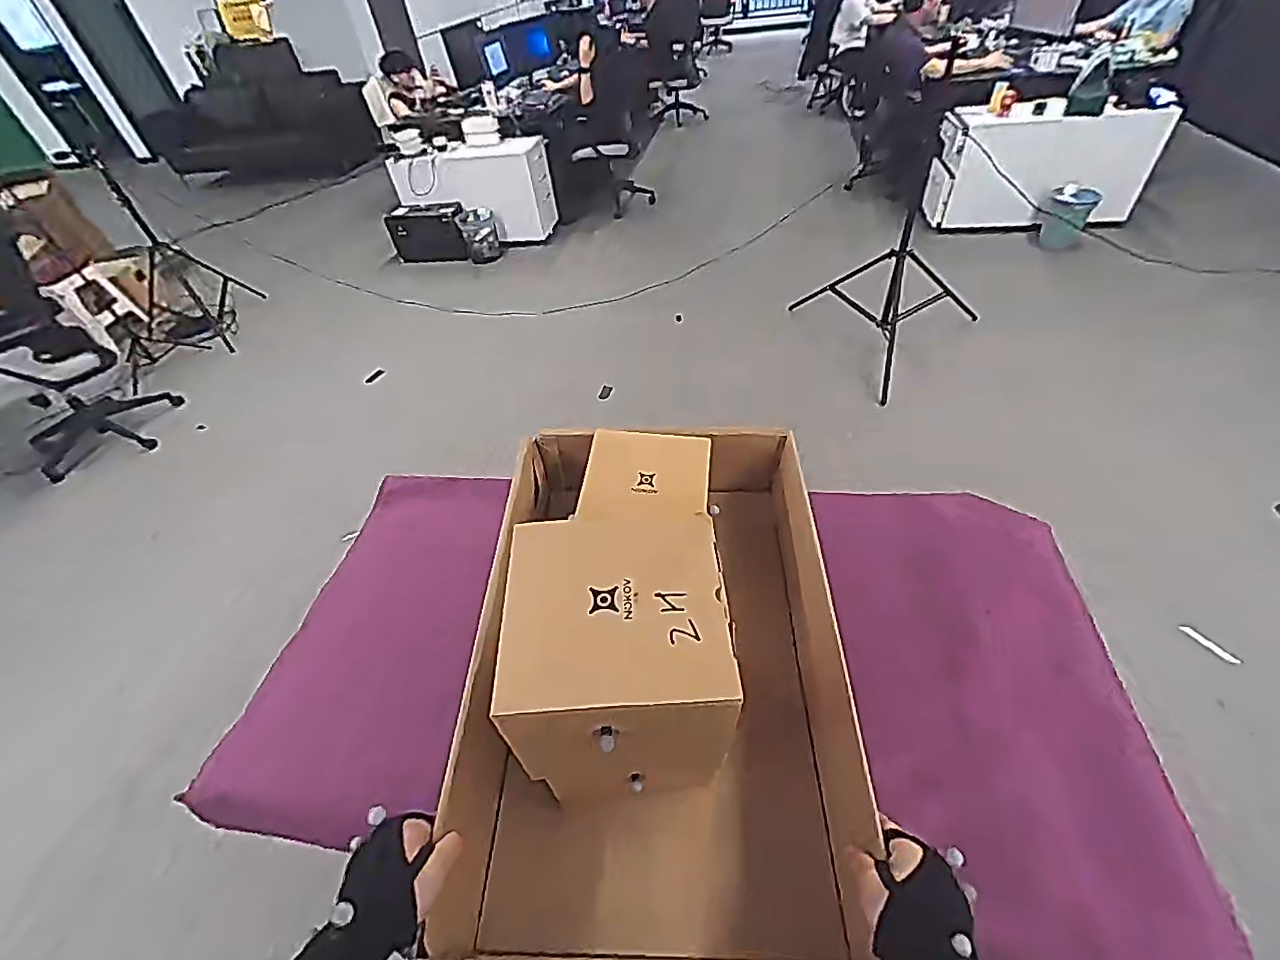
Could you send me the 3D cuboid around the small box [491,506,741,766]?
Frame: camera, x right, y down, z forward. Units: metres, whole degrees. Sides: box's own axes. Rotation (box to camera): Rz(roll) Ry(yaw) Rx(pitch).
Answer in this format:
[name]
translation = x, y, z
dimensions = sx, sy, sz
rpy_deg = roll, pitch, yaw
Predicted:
[small box]
translation = -0.016, 0.142, 0.480
dimensions = 0.179, 0.176, 0.168
rpy_deg = -3, 48, -1
